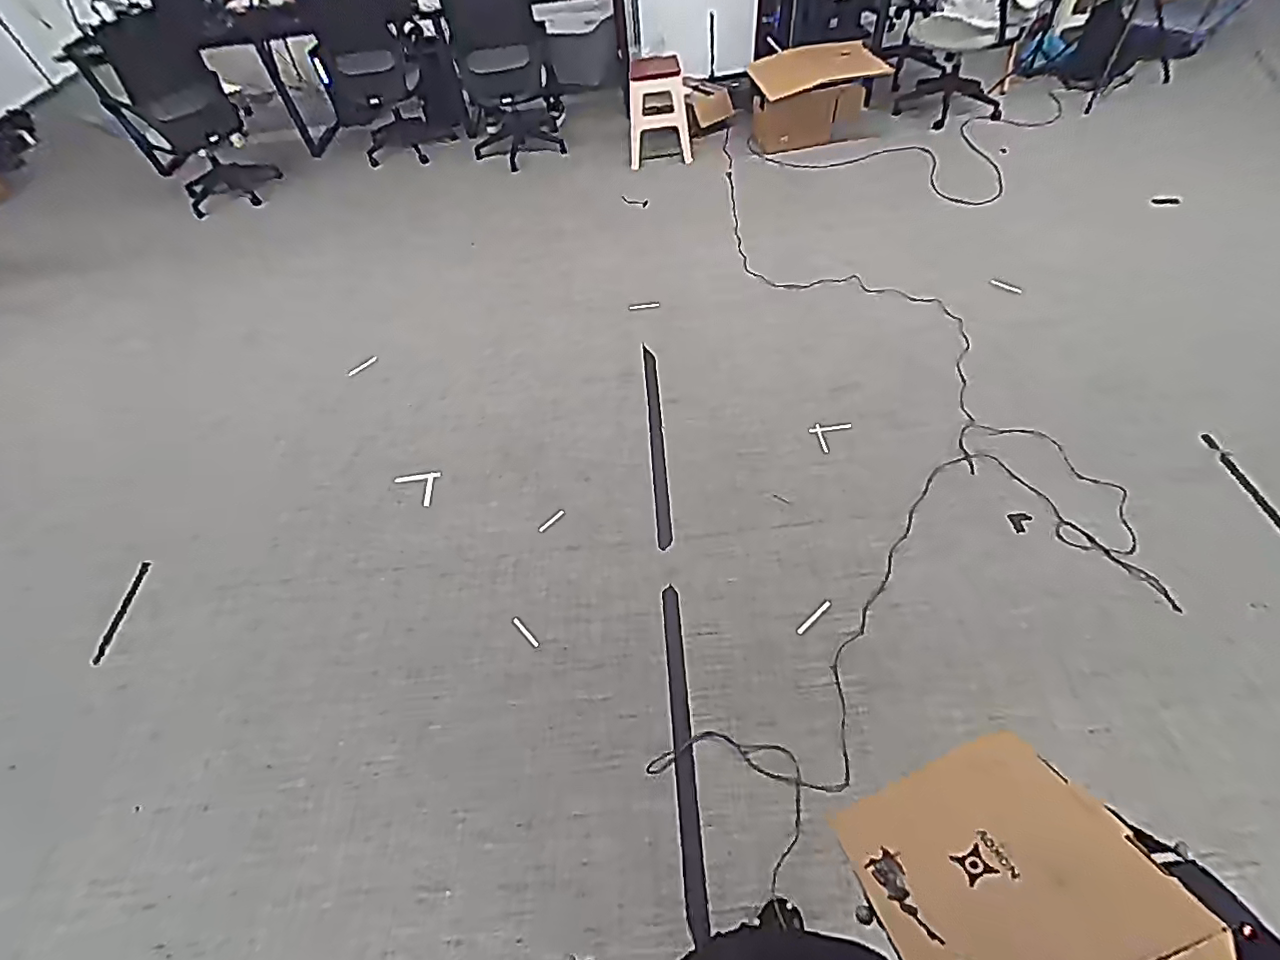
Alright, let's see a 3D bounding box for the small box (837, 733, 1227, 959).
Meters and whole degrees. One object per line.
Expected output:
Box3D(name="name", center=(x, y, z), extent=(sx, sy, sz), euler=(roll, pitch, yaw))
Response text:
Box3D(name="small box", center=(0.291, 0.349, 0.420), extent=(0.179, 0.176, 0.168), euler=(-28, 17, 1))
